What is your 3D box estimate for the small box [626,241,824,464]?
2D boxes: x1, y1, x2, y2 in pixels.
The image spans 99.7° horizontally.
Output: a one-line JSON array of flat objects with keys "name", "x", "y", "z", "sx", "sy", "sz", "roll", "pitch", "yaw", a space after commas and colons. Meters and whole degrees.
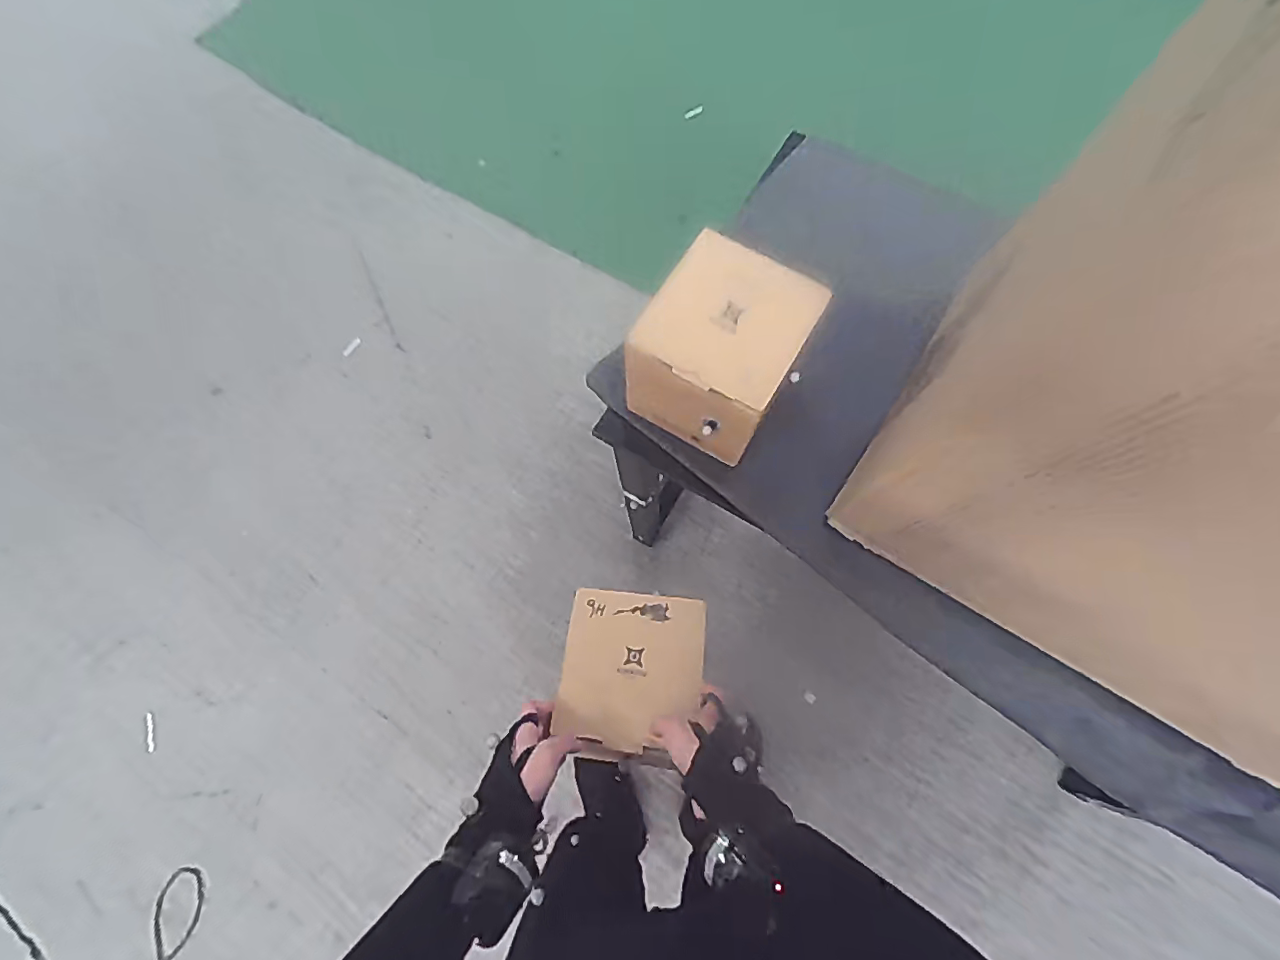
[{"name": "small box", "x": 0.096, "y": -0.147, "z": 0.673, "sx": 0.168, "sy": 0.176, "sz": 0.179, "roll": 29, "pitch": 72, "yaw": 8}]
